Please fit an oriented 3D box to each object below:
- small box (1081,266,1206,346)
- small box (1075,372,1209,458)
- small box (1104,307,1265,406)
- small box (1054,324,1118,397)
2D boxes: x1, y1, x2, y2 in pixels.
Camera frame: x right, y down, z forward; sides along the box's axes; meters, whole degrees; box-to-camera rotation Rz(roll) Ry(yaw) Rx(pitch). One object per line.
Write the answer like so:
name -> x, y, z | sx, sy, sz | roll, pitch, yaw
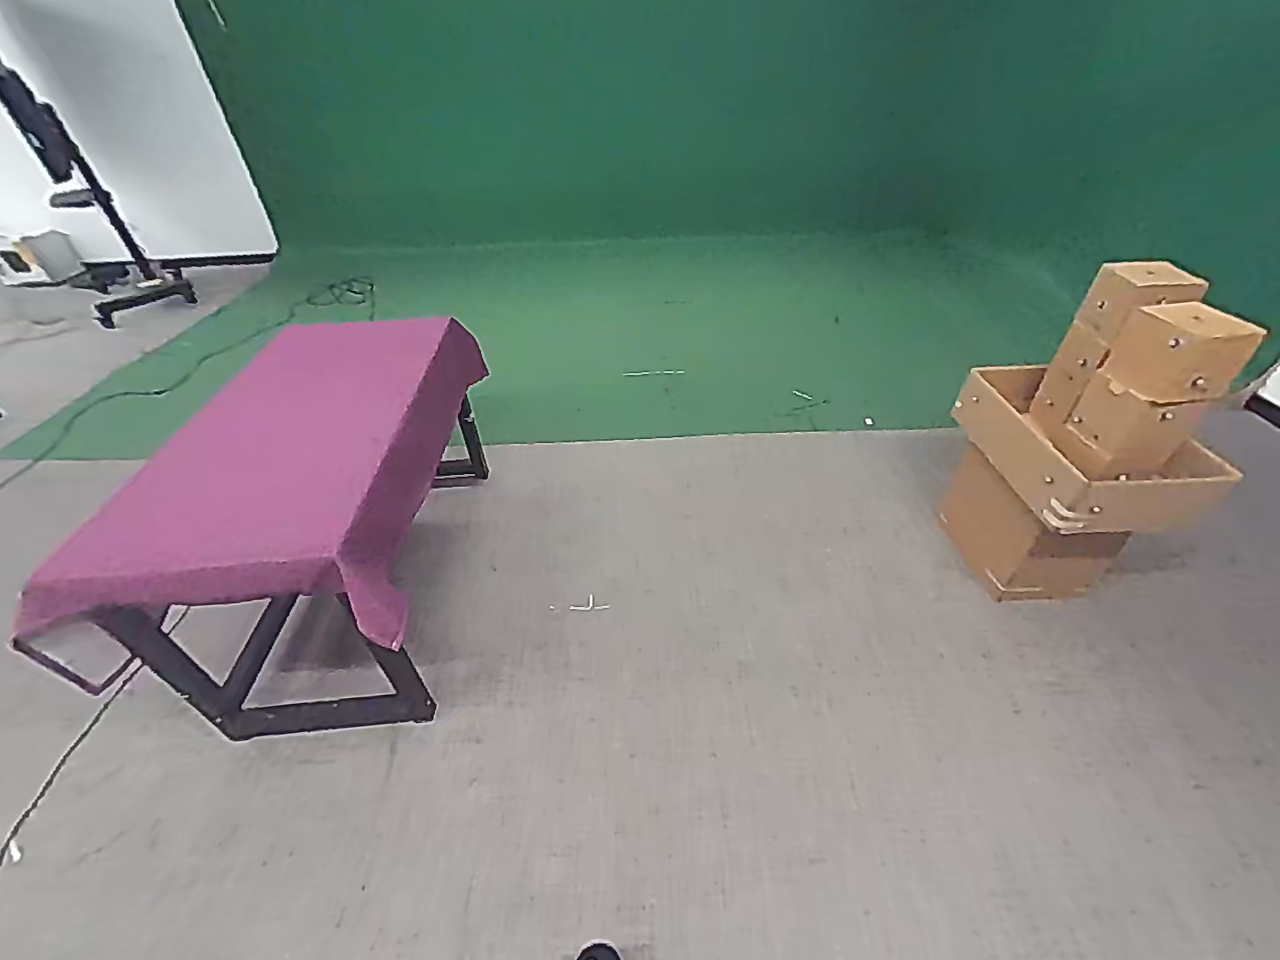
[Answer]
small box -> 1.388, -0.484, 1.513 | 0.179, 0.176, 0.168 | 1, 41, 4
small box -> 1.274, -0.170, 1.391 | 0.179, 0.176, 0.168 | -4, 39, -2
small box -> 1.278, -0.295, 1.289 | 0.168, 0.176, 0.179 | -5, 40, -4
small box -> 1.388, -0.355, 1.615 | 0.179, 0.176, 0.168 | 0, 41, 2
